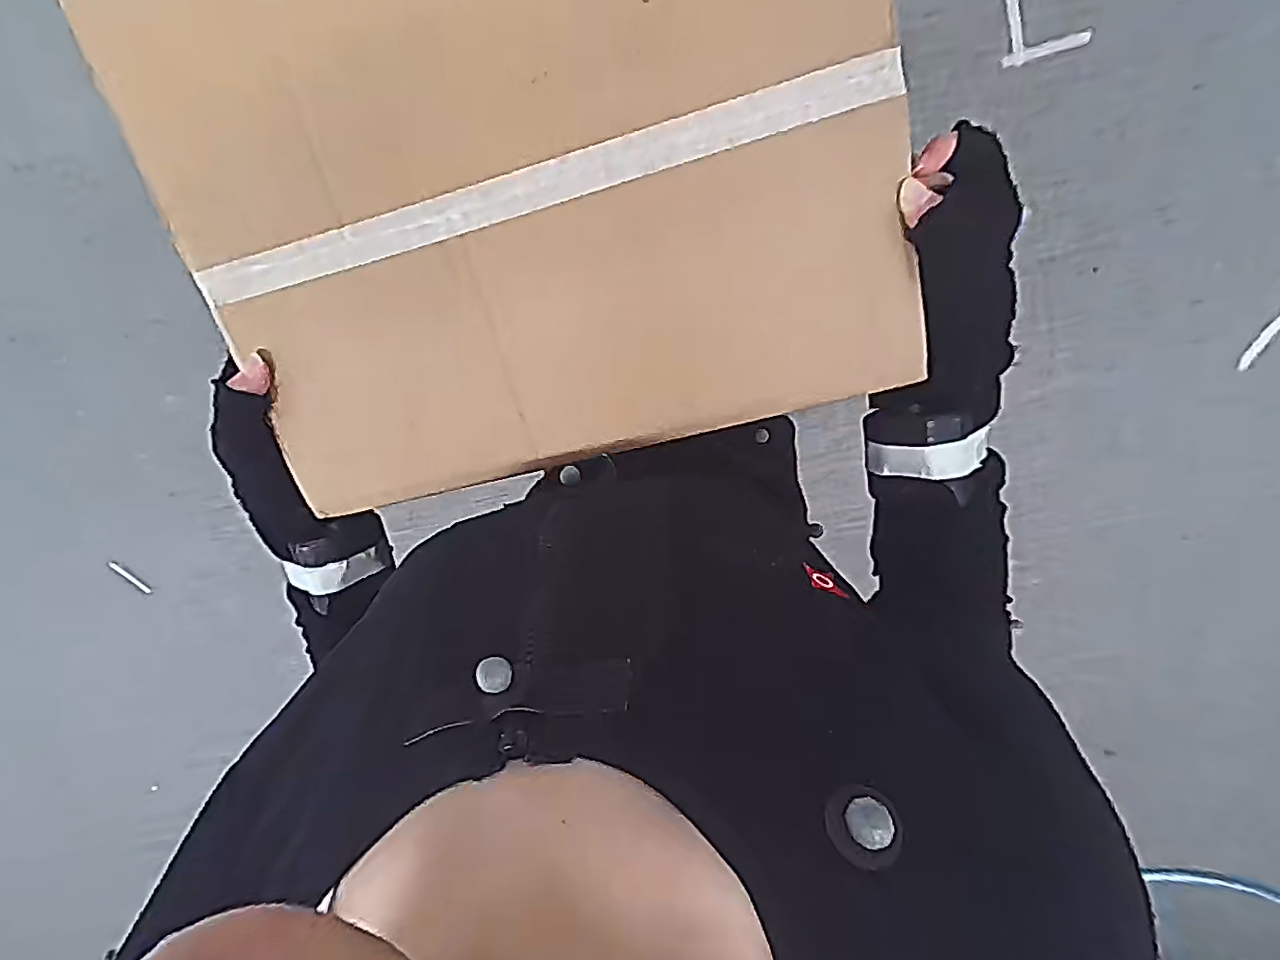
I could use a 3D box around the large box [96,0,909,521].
[{"bbox_3d":[-0.055,-0.206,0.447,0.408,0.320,0.320,-13,108,9],"label":"large box"}]
